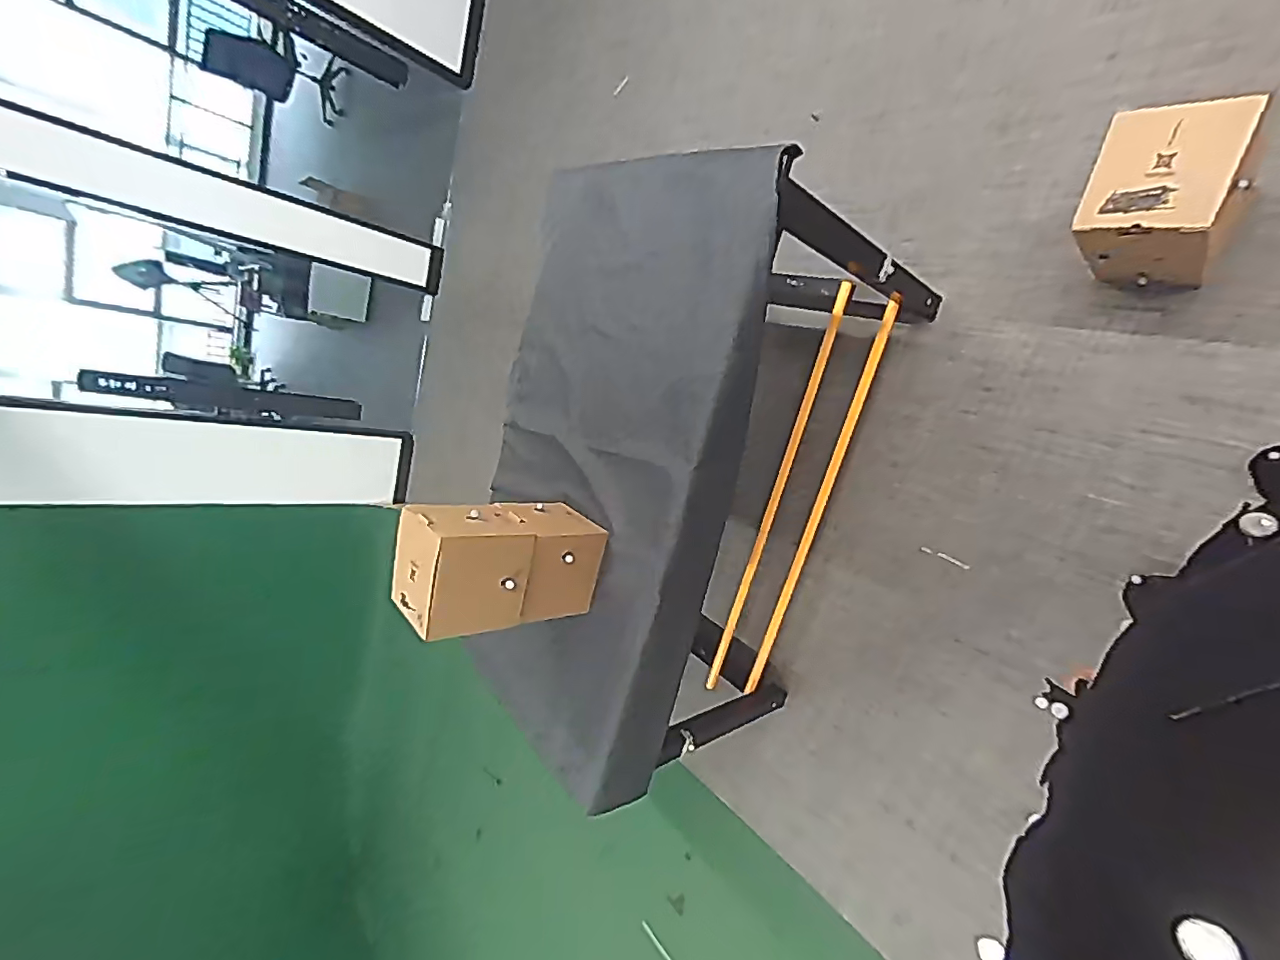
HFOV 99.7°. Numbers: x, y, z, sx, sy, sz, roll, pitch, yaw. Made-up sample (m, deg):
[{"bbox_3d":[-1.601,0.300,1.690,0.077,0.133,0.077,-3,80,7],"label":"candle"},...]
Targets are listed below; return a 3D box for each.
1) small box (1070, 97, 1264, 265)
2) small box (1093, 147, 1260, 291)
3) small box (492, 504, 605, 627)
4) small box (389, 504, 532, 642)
[{"bbox_3d":[0.819,-0.450,0.847,0.168,0.176,0.179,25,105,44],"label":"small box"},{"bbox_3d":[0.937,-0.457,0.961,0.168,0.176,0.179,29,107,44],"label":"small box"},{"bbox_3d":[-0.188,0.156,1.043,0.168,0.176,0.179,26,107,45],"label":"small box"},{"bbox_3d":[-0.304,0.150,0.925,0.168,0.176,0.179,22,103,46],"label":"small box"}]
